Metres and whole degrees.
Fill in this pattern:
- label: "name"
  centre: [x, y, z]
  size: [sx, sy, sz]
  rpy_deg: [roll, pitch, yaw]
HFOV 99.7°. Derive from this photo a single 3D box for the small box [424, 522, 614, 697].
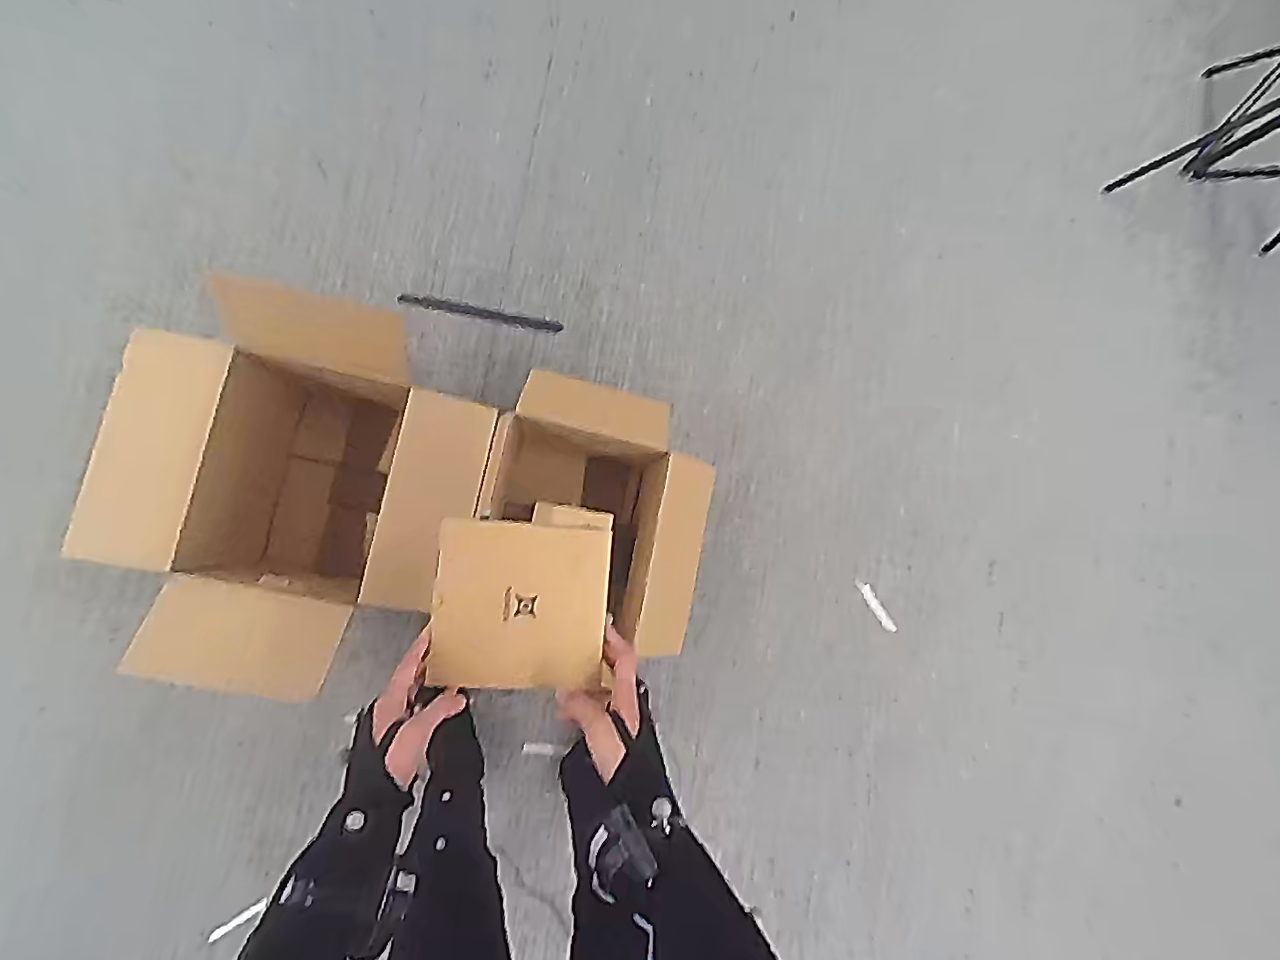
- label: "small box"
  centre: [-0.130, 0.137, 0.621]
  size: [0.179, 0.176, 0.168]
  rpy_deg: [5, 86, -7]
